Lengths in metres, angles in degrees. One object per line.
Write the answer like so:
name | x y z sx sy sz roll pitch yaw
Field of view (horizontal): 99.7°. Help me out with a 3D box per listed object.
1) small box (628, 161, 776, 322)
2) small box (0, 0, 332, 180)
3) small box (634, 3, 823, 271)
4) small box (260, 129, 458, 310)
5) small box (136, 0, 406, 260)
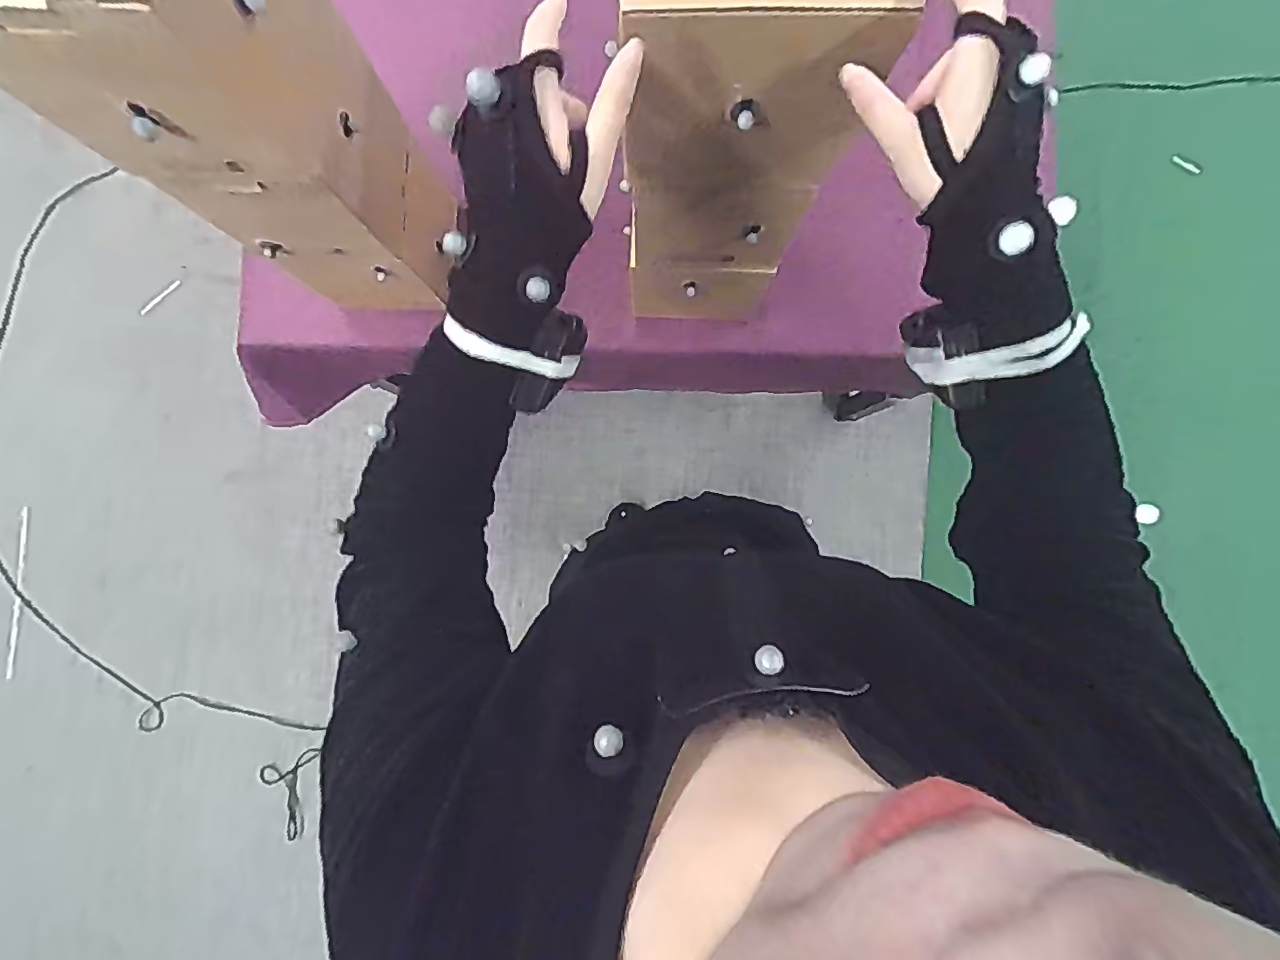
small box | 0.079 -0.319 0.721 0.179 0.176 0.168 3 88 0
small box | -0.353 -0.349 0.395 0.168 0.176 0.179 2 88 -1
small box | 0.080 -0.333 0.558 0.168 0.176 0.179 1 86 -1
small box | -0.362 -0.337 0.724 0.179 0.176 0.168 1 87 -1
small box | -0.360 -0.348 0.560 0.168 0.176 0.179 1 86 -1
